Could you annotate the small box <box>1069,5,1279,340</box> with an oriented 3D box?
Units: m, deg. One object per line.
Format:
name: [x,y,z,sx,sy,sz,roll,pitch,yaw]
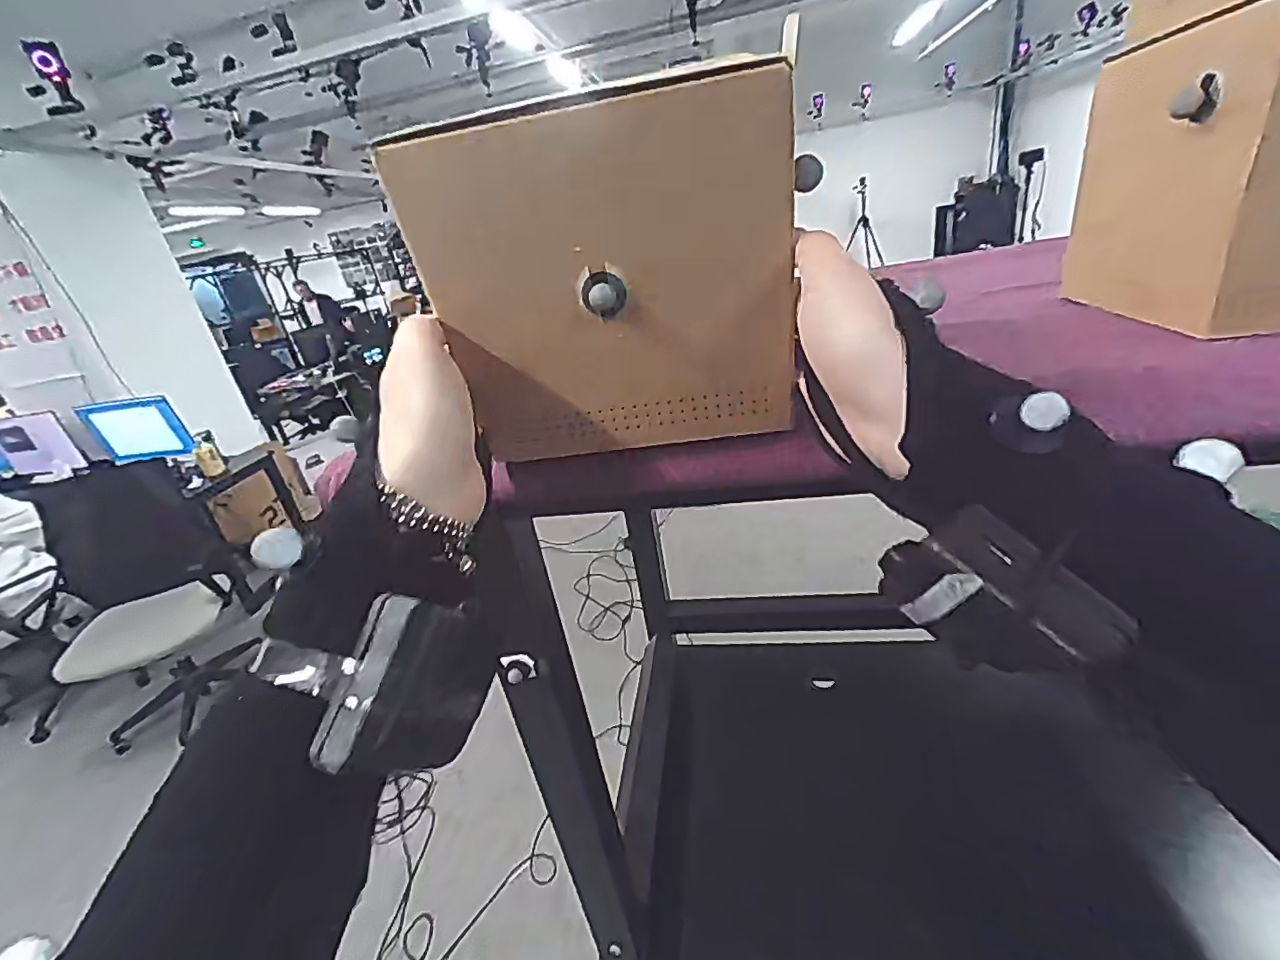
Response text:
small box: [0.410,-0.188,0.334,0.168,0.176,0.179,-2,26,14]
